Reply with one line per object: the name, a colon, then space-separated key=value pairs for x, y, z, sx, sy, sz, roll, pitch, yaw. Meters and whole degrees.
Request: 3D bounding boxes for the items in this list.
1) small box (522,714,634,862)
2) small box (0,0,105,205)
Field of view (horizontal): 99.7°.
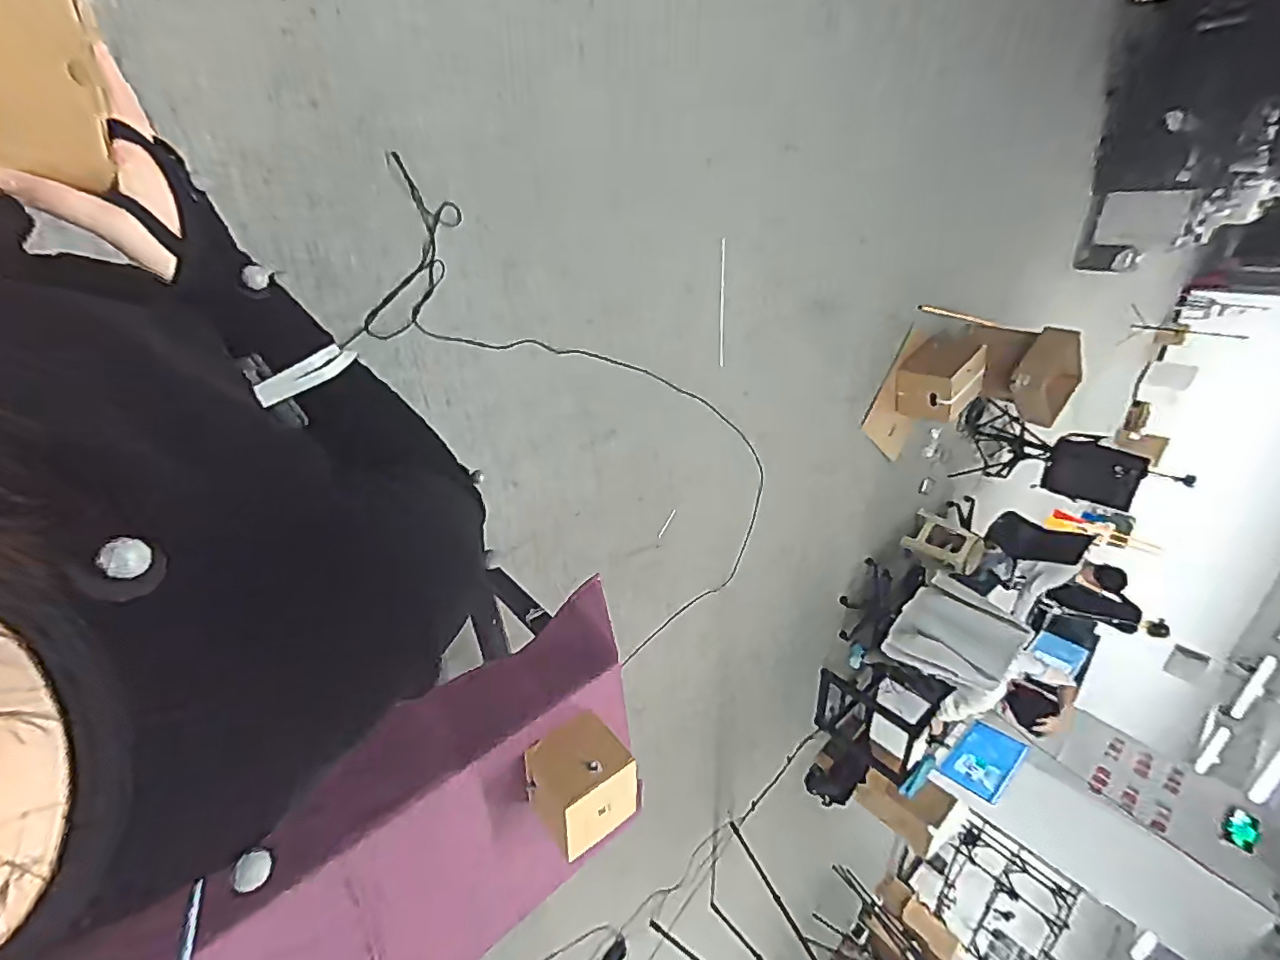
small box: x=-0.132 y=0.640 z=1.148 sx=0.179 sy=0.176 sz=0.168 roll=-18 pitch=120 yaw=-36
small box: x=-0.384 y=-0.266 z=0.244 sx=0.179 sy=0.176 sz=0.168 roll=-12 pitch=159 yaw=-40
